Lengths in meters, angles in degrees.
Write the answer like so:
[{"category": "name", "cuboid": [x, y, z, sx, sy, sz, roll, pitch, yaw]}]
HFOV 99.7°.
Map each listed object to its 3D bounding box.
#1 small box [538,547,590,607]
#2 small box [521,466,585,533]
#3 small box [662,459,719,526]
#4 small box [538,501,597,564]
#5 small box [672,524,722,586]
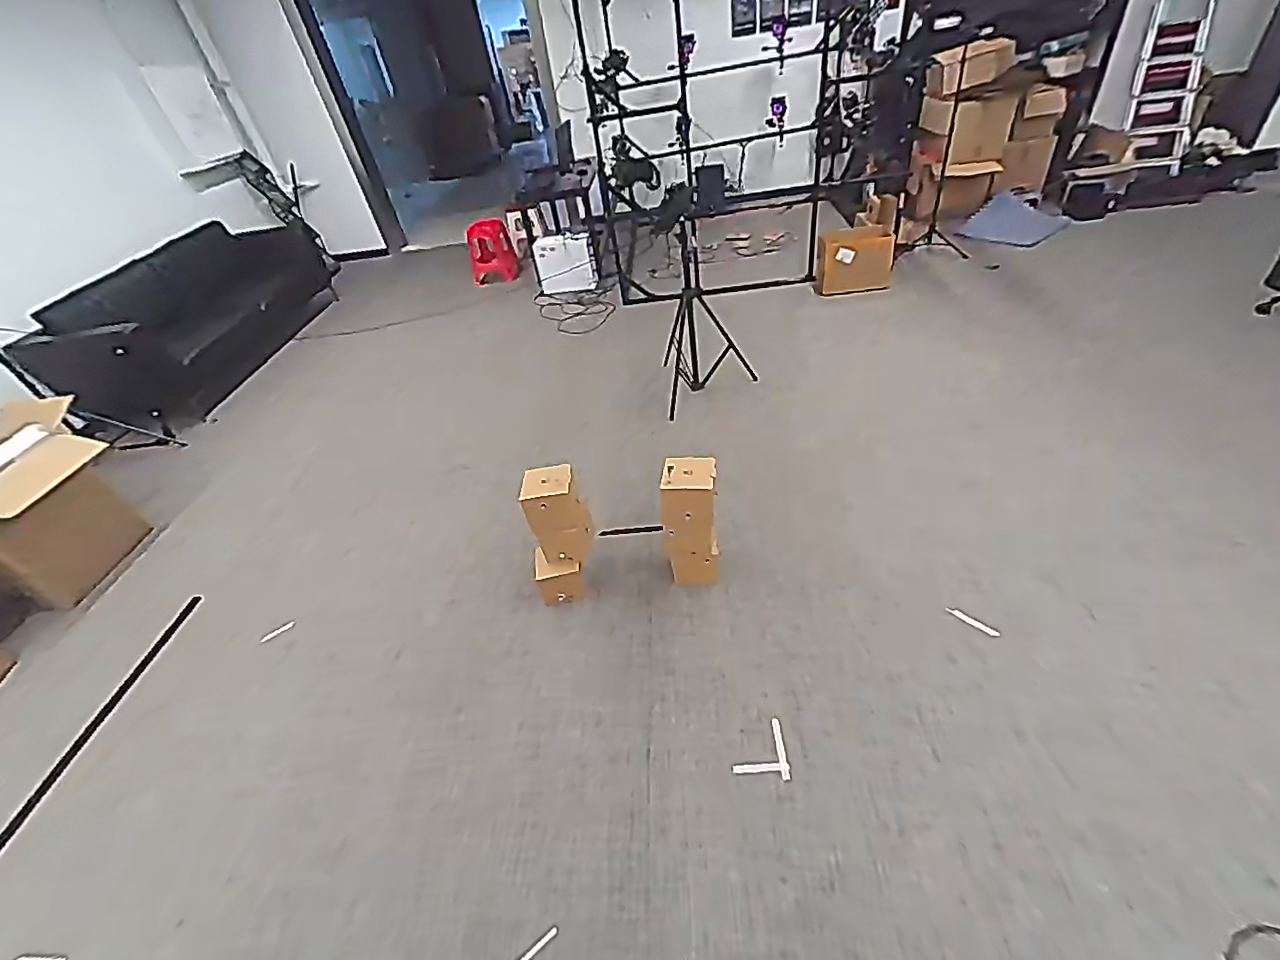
[{"category": "small box", "cuboid": [-0.295, 0.365, 2.099, 0.168, 0.176, 0.179, -13, 40, -1]}, {"category": "small box", "cuboid": [-0.306, 0.074, 1.933, 0.179, 0.176, 0.168, -8, 39, 5]}, {"category": "small box", "cuboid": [0.180, 0.044, 1.855, 0.179, 0.176, 0.168, 1, 40, 12]}, {"category": "small box", "cuboid": [-0.266, 0.198, 2.034, 0.168, 0.176, 0.179, -4, 40, 11]}, {"category": "small box", "cuboid": [0.220, 0.291, 2.068, 0.179, 0.176, 0.168, -4, 40, 7]}]
